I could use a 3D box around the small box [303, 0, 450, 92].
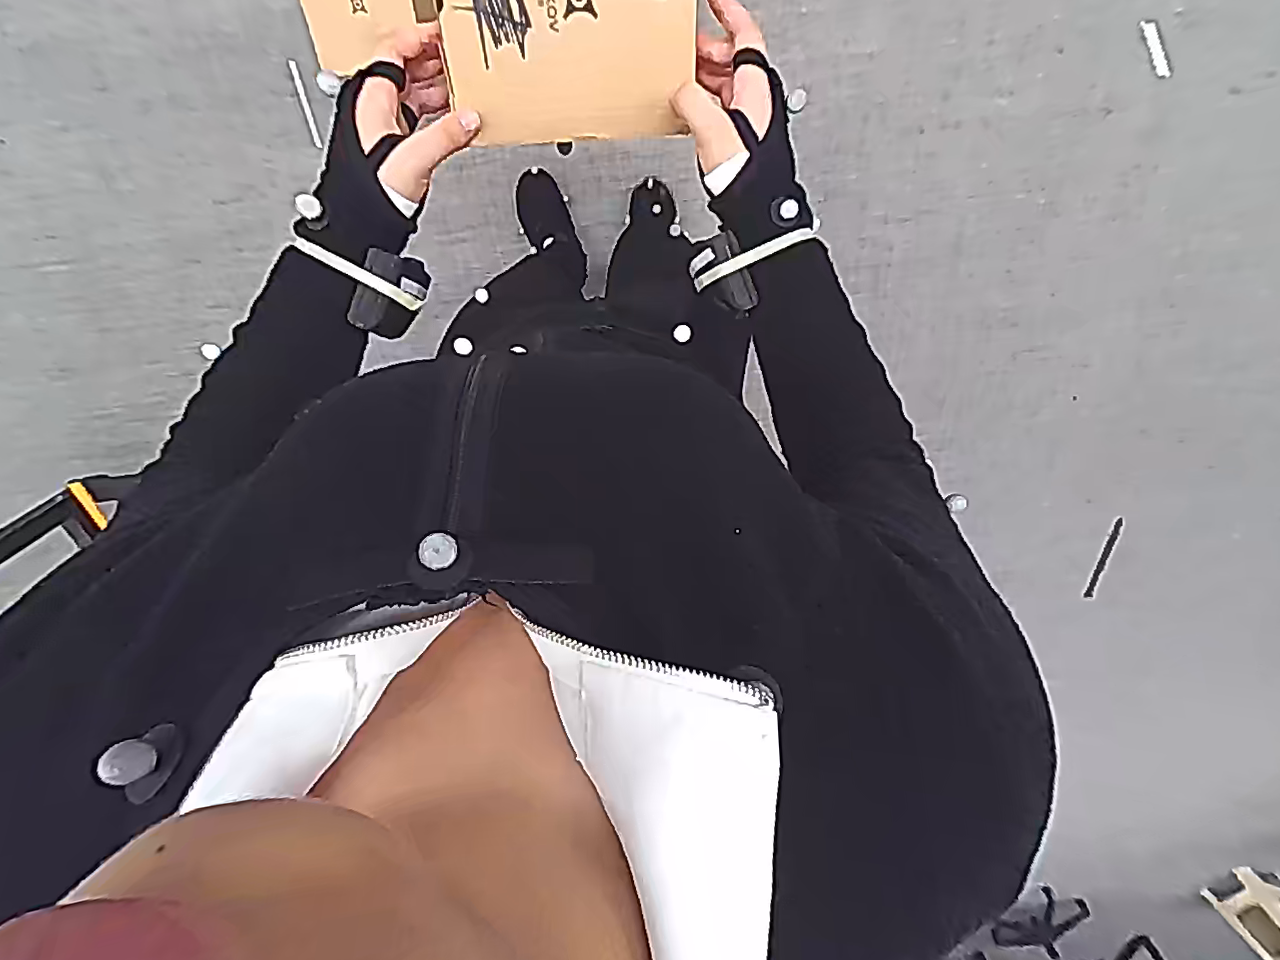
[{"bbox_3d":[-0.425,-0.752,0.880,0.168,0.176,0.179,-5,122,0],"label":"small box"}]

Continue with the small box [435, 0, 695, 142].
[{"bbox_3d":[-0.056,-0.370,0.422,0.179,0.176,0.168,-5,130,-4],"label":"small box"}]

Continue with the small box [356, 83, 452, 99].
[{"bbox_3d":[-0.443,-0.831,1.021,0.179,0.176,0.168,-4,121,-1],"label":"small box"}]
